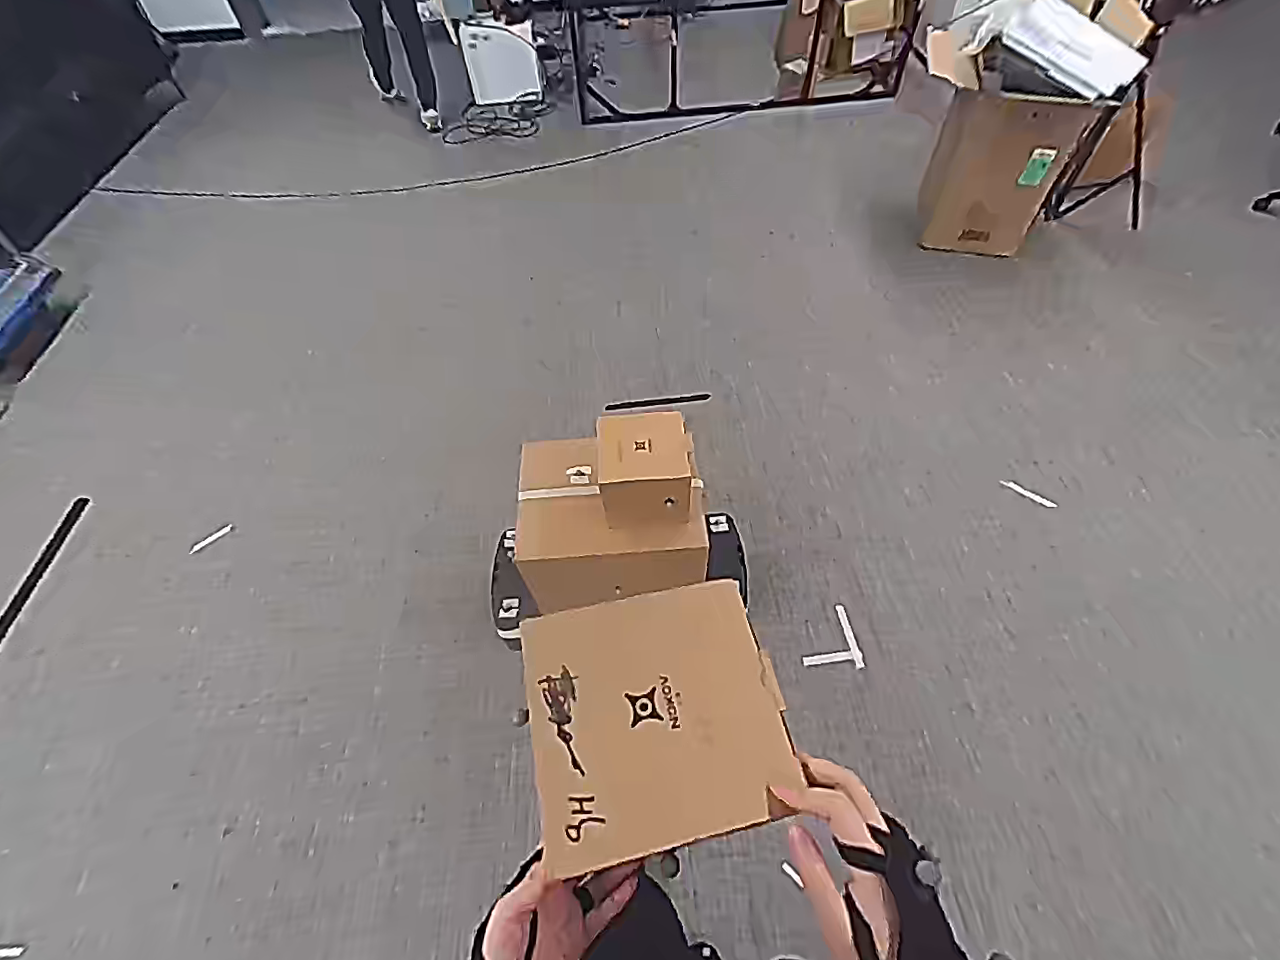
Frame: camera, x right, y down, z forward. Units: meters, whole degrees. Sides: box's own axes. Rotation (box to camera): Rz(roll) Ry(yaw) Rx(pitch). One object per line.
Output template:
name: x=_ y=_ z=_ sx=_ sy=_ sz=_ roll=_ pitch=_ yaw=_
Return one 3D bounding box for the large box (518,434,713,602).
large box: x=-0.050 y=0.119 z=1.300 sx=0.408 sy=0.320 sz=0.320 roll=-5 pitch=53 yaw=1

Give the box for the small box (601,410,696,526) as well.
small box: x=0.016 y=-0.021 z=1.093 sx=0.179 sy=0.176 sz=0.168 roll=-4 pitch=55 yaw=1

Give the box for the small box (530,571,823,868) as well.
small box: x=0.011 y=0.195 z=0.437 sx=0.179 sy=0.176 sz=0.168 roll=-8 pitch=54 yaw=-10

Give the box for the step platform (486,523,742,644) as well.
step platform: x=-0.064 y=0.281 z=1.478 sx=0.684 sy=0.204 sz=0.286 roll=-1 pitch=54 yaw=4
